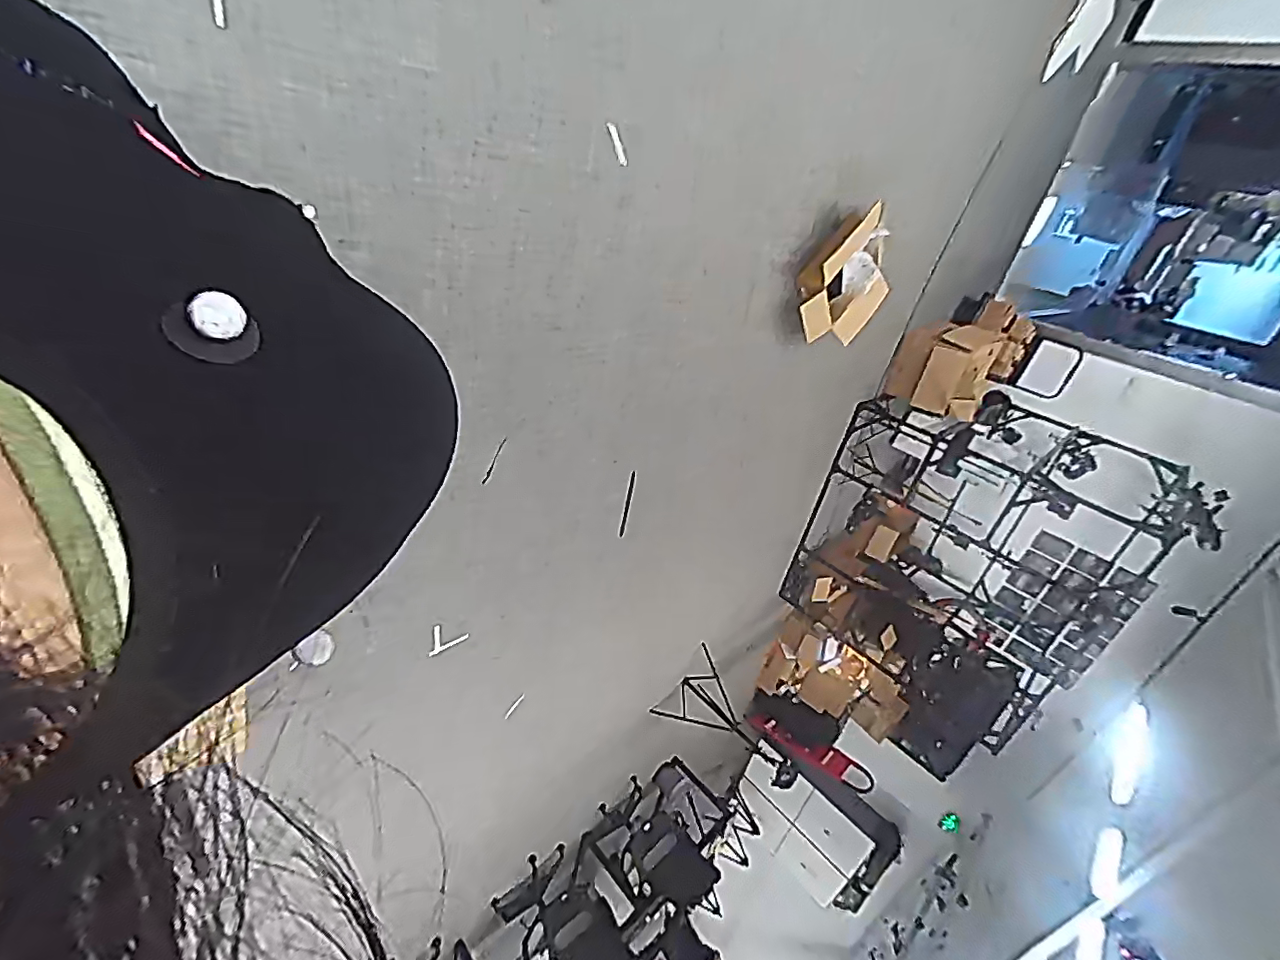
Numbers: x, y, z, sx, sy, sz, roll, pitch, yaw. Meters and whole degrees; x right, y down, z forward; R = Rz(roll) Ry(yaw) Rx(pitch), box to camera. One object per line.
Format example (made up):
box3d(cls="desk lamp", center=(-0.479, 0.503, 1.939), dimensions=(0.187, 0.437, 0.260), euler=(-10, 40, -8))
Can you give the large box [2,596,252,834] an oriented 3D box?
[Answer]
box3d(cls="large box", center=(-1.247, 0.544, 1.342), dimensions=(0.408, 0.320, 0.320), euler=(-10, 125, -48))
